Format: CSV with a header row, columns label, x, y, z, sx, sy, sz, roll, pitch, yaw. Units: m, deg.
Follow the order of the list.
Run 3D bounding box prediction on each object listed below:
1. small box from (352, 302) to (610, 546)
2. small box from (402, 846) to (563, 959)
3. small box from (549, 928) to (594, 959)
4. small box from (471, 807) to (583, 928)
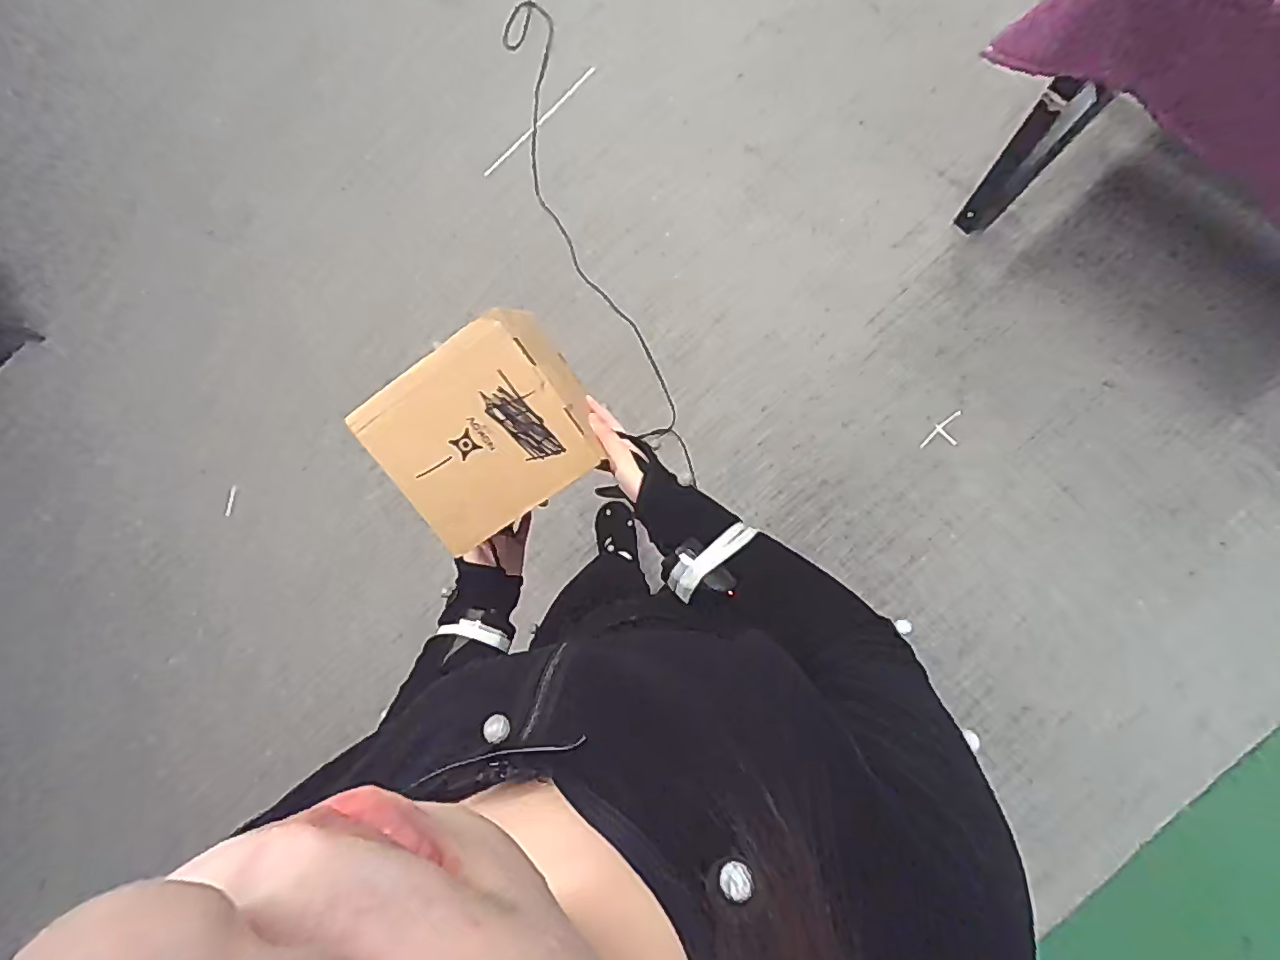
label,x,y,z,sx,sy,sz,roll,pitch,yaw
small box,-0.143,-0.066,0.564,0.179,0.176,0.168,-31,103,10
small box,-0.260,0.773,0.926,0.168,0.176,0.179,-35,79,5
small box,-0.177,1.043,1.052,0.179,0.176,0.168,-37,81,6
small box,-0.232,0.803,1.084,0.179,0.176,0.168,-36,78,5
